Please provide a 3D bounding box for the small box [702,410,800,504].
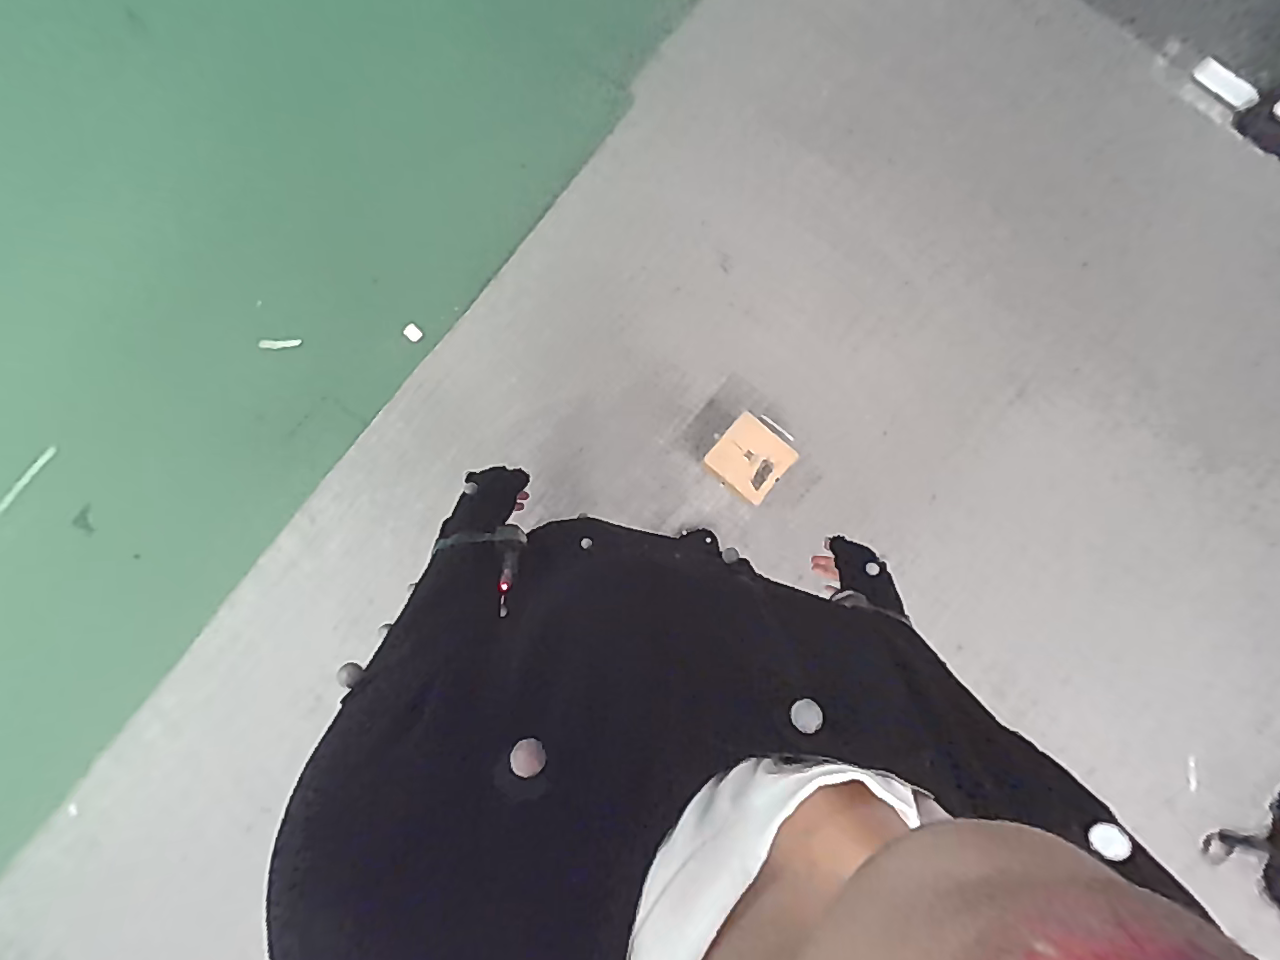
[{"bbox_3d":[0.278,-0.055,1.400,0.179,0.176,0.168,41,89,4],"label":"small box"}]
